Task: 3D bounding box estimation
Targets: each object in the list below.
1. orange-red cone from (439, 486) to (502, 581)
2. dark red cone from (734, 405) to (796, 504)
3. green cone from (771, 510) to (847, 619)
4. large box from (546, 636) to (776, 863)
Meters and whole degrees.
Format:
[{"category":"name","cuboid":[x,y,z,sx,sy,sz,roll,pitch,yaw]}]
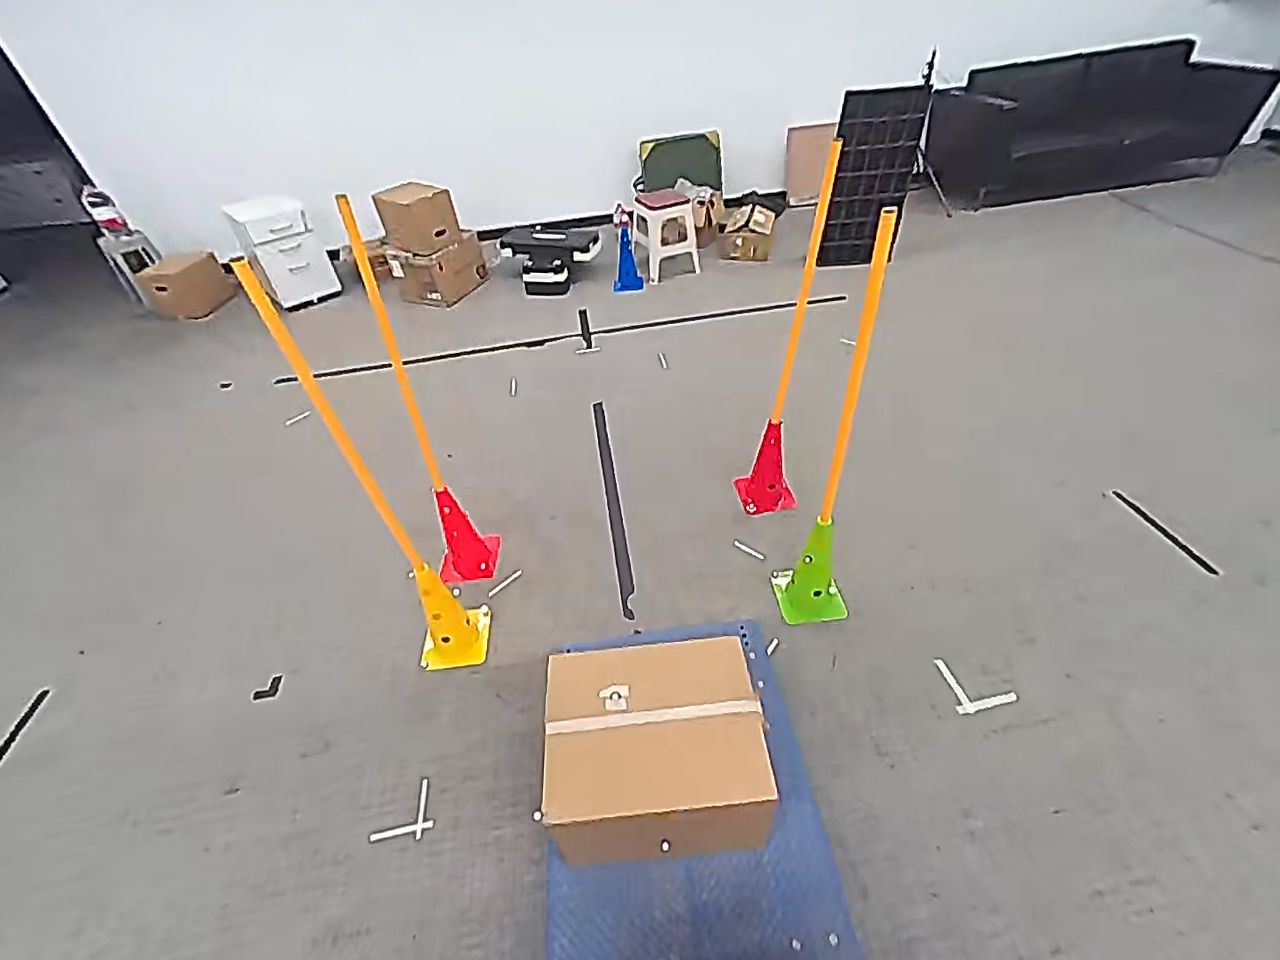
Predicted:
[{"category":"orange-red cone","cuboid":[-0.622,0.162,1.859,0.198,0.360,0.199,-4,41,1]},{"category":"dark red cone","cuboid":[0.474,-0.101,1.987,0.201,0.394,0.202,-8,43,-5]},{"category":"green cone","cuboid":[0.534,0.234,1.641,0.202,0.368,0.200,-6,42,-2]},{"category":"large box","cuboid":[0.038,0.563,1.127,0.408,0.320,0.320,-7,43,0]}]
